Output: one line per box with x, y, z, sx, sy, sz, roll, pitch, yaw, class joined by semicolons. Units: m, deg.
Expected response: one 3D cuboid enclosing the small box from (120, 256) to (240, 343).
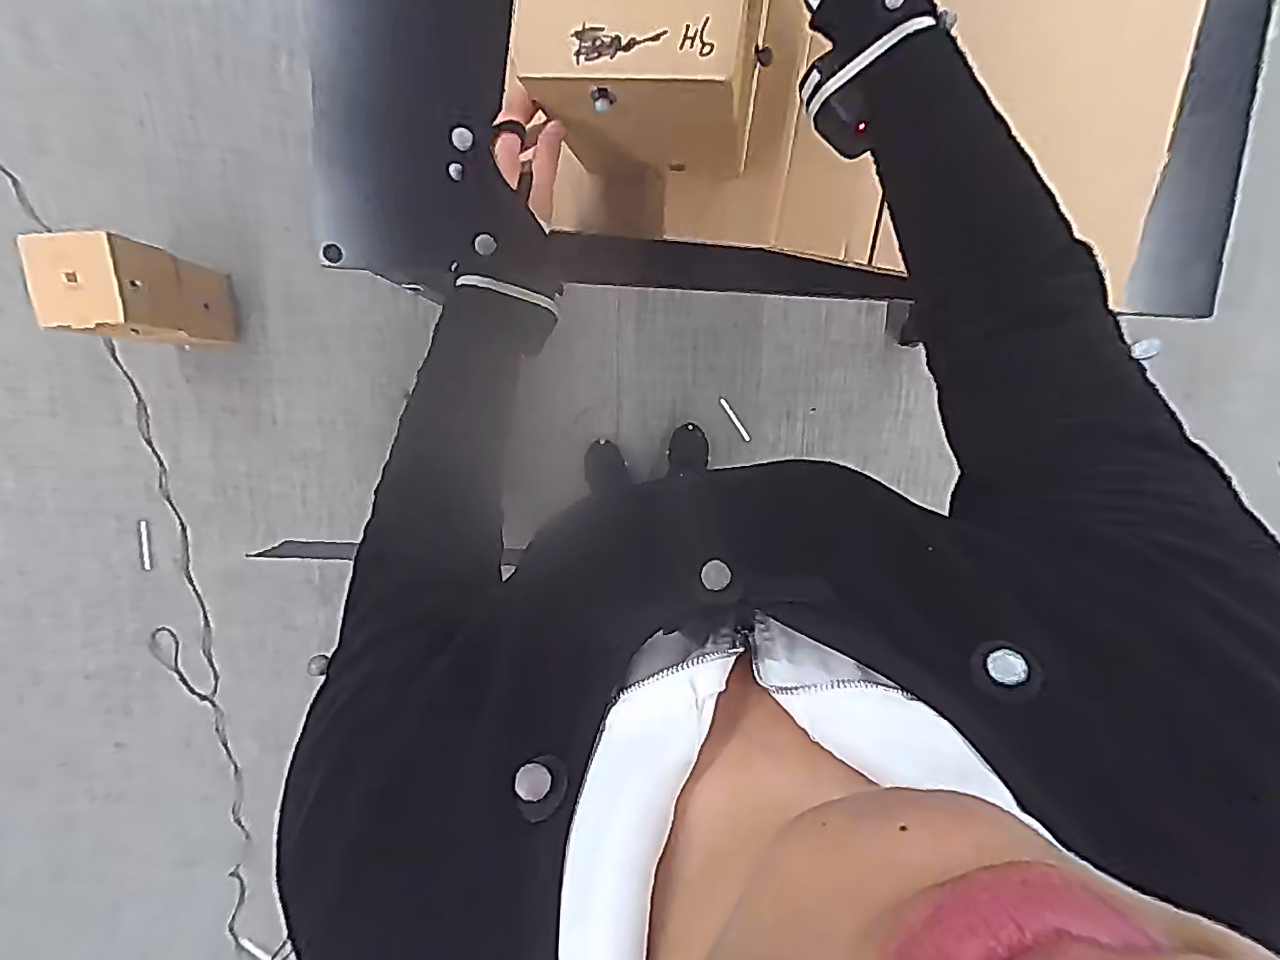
-1.102;-0.425;1.292;0.168;0.176;0.179;-1;100;-2;small box

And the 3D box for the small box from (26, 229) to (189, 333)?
-1.096;-0.406;1.131;0.168;0.176;0.179;-5;98;-3;small box

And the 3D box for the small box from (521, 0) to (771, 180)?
0.018;-0.385;0.456;0.168;0.176;0.179;10;98;12;small box
